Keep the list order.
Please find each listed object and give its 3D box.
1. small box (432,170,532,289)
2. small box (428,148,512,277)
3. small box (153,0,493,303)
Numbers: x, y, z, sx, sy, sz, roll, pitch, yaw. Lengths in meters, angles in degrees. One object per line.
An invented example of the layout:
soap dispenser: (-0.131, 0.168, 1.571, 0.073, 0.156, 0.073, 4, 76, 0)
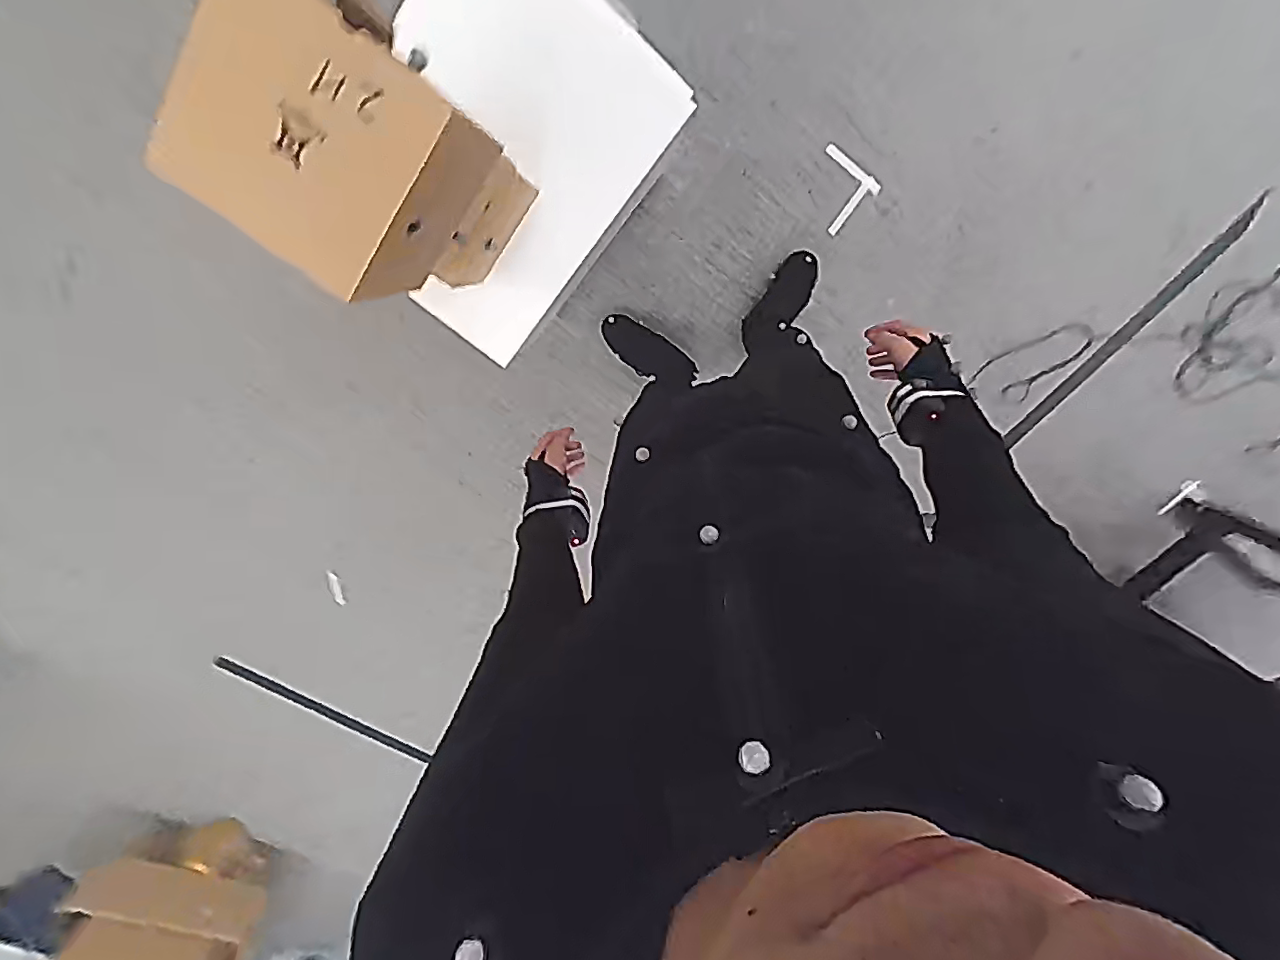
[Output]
small box: (-0.272, -0.400, 0.777, 0.168, 0.176, 0.179, 34, 107, -15)
small box: (-0.271, -0.354, 0.621, 0.179, 0.176, 0.168, 35, 107, -14)
small box: (-0.251, -0.281, 0.472, 0.168, 0.176, 0.179, 35, 107, -15)
